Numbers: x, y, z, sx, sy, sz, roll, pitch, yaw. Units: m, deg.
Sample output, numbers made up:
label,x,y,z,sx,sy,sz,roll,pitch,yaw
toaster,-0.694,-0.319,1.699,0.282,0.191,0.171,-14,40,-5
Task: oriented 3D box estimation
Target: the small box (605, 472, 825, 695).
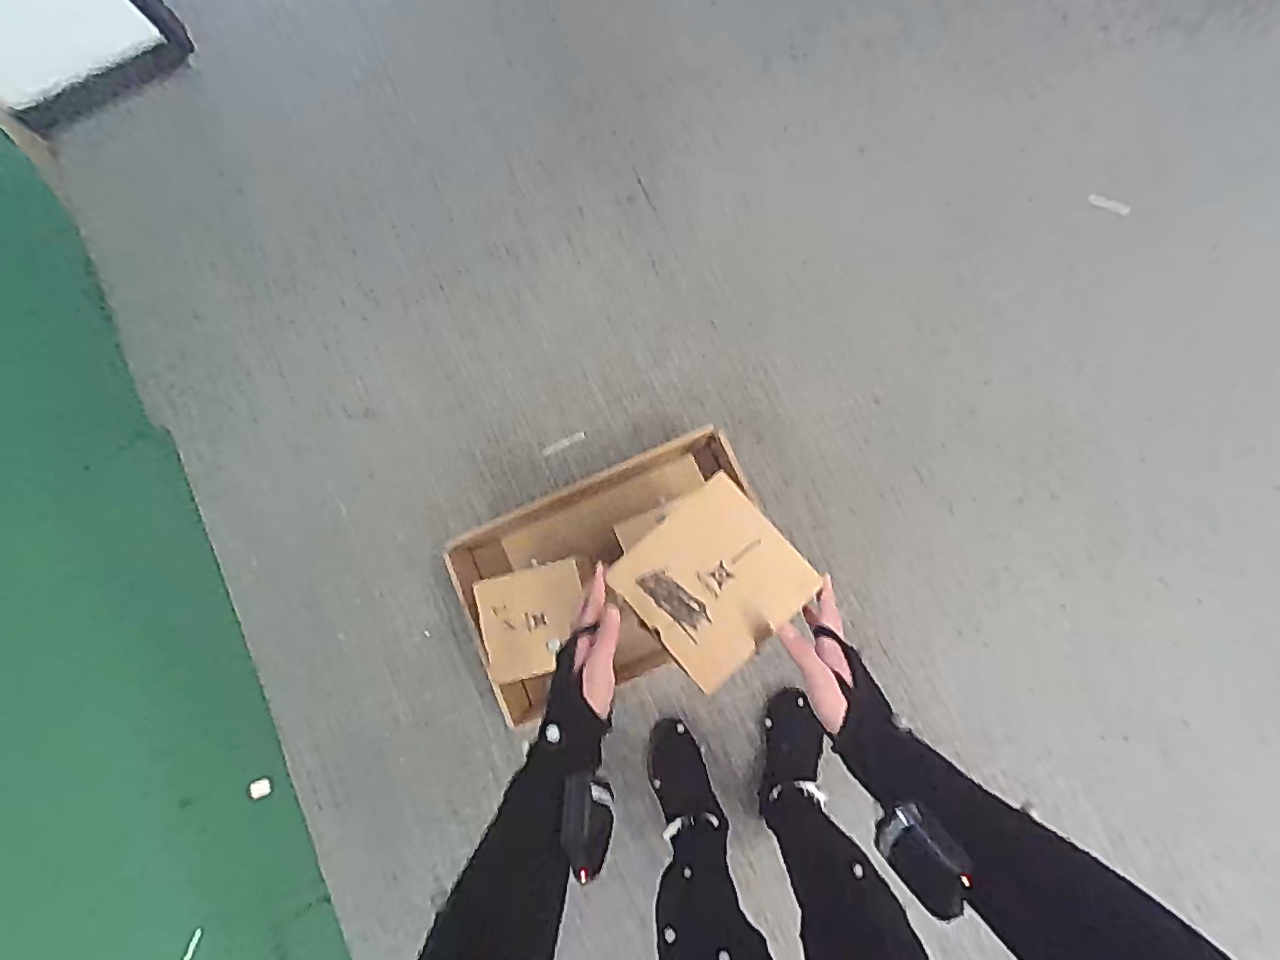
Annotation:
label,x,y,z,sx,sy,sz,roll,pitch,yaw
small box,0.082,0.120,0.646,0.179,0.176,0.168,-42,81,-7
